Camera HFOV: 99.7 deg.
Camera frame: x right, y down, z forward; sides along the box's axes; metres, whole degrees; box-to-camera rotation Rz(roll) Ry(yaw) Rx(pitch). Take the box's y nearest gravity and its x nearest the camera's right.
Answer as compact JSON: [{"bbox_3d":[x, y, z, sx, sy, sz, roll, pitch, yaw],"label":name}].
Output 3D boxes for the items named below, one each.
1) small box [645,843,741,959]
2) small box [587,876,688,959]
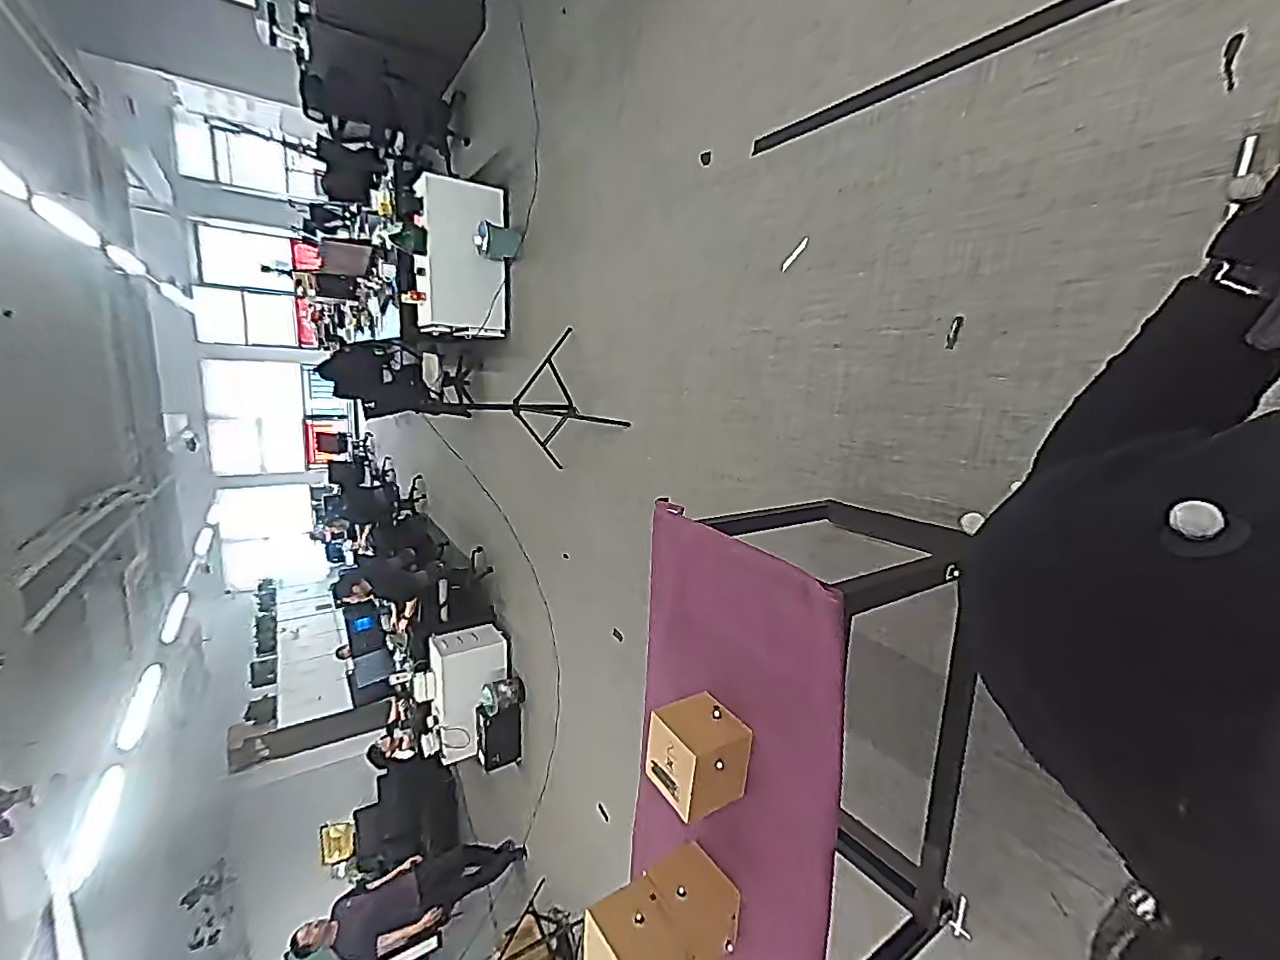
[{"bbox_3d":[0.127,1.039,1.317,0.179,0.176,0.168,19,109,55],"label":"small box"},{"bbox_3d":[-0.006,1.055,1.219,0.168,0.176,0.179,18,109,55],"label":"small box"}]
